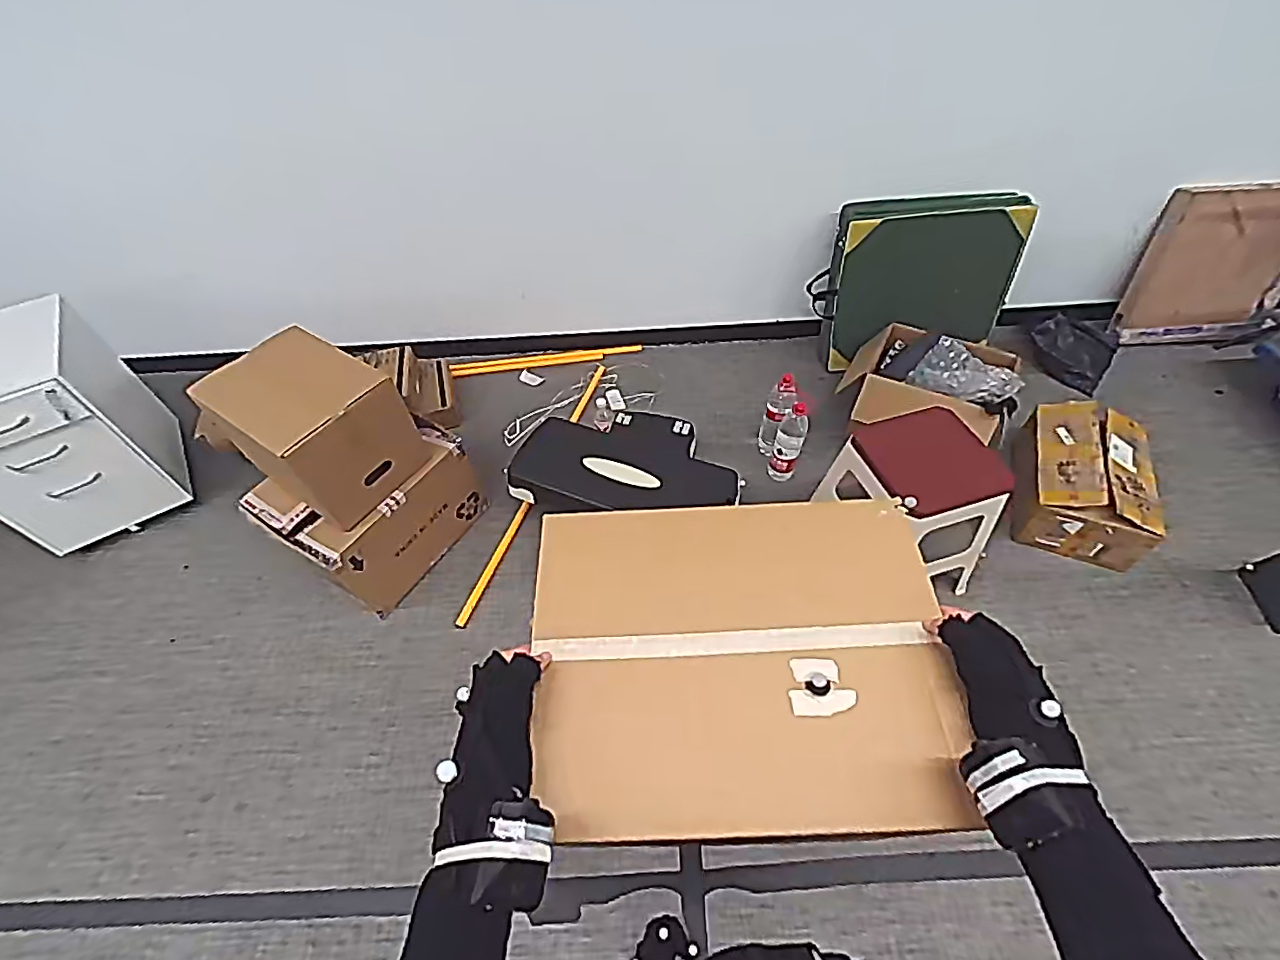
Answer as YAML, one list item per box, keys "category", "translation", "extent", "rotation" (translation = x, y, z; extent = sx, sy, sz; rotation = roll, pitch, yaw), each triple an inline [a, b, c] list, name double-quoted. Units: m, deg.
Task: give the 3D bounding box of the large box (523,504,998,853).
- category: "large box"
  translation: [0.098, 0.249, 0.652]
  extent: [0.408, 0.320, 0.320]
  rotation: [-3, 55, 1]
